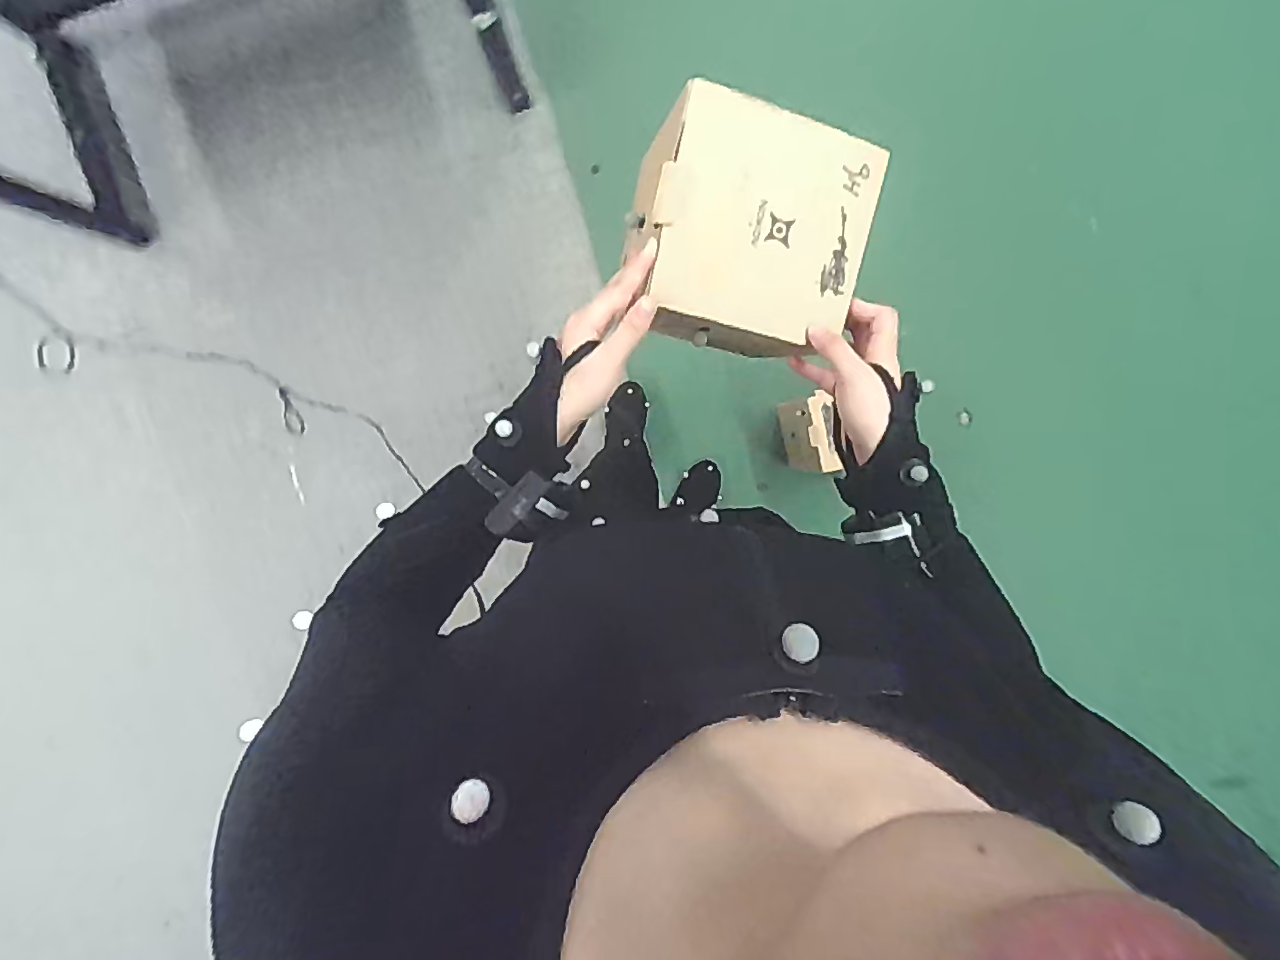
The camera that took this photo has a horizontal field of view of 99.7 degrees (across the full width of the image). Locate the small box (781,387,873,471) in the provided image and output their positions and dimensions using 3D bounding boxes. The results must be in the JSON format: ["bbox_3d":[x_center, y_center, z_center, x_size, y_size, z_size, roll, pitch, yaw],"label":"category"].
[{"bbox_3d":[0.466,-0.130,1.365,0.168,0.176,0.179,-12,94,4],"label":"small box"}]
